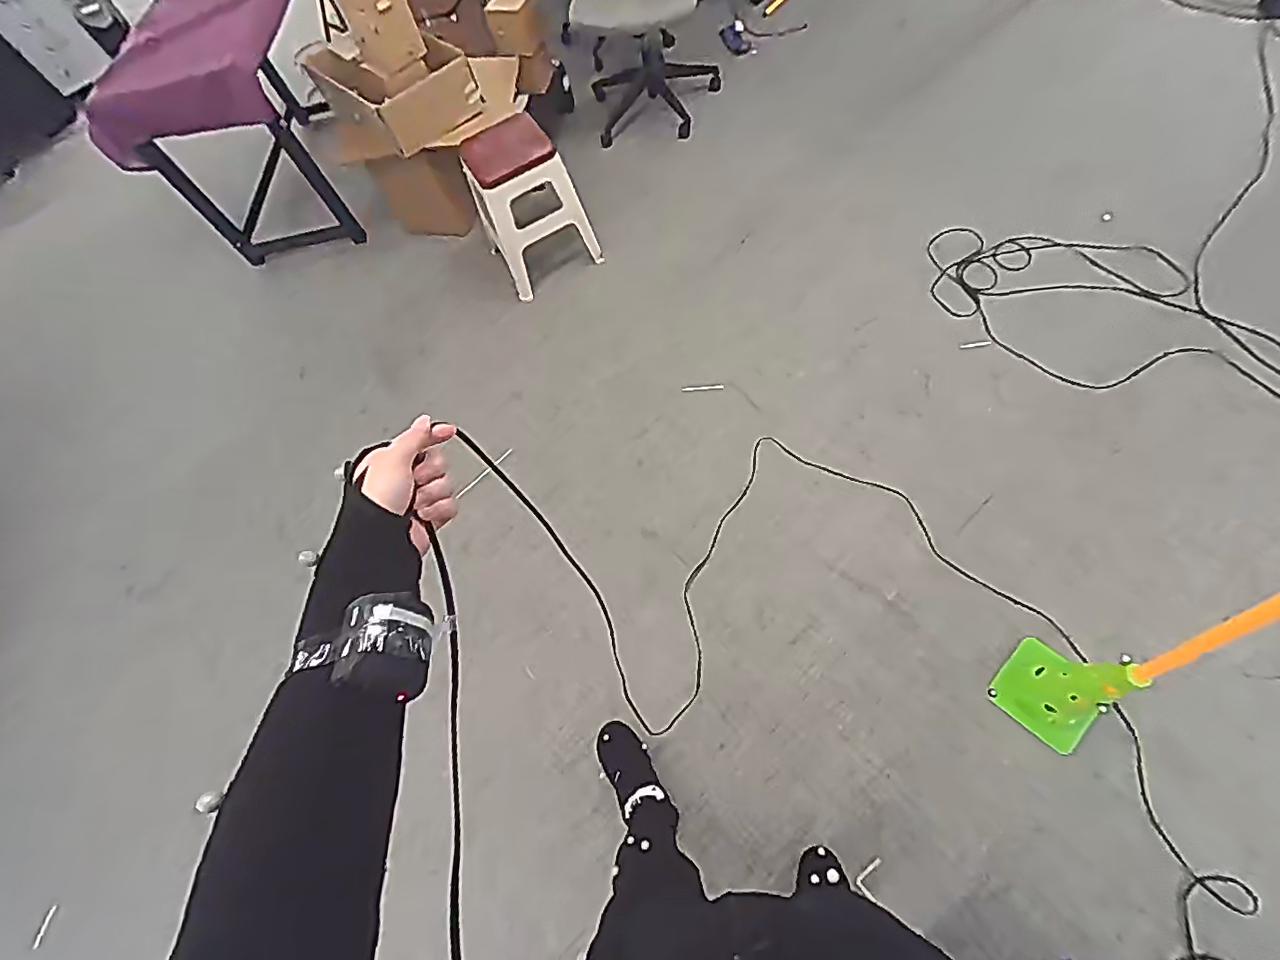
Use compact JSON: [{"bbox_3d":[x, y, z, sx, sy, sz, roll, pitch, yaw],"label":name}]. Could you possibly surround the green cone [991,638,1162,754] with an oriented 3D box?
[{"bbox_3d":[0.948,0.431,1.133,0.200,0.368,0.202,40,76,24],"label":"green cone"}]
